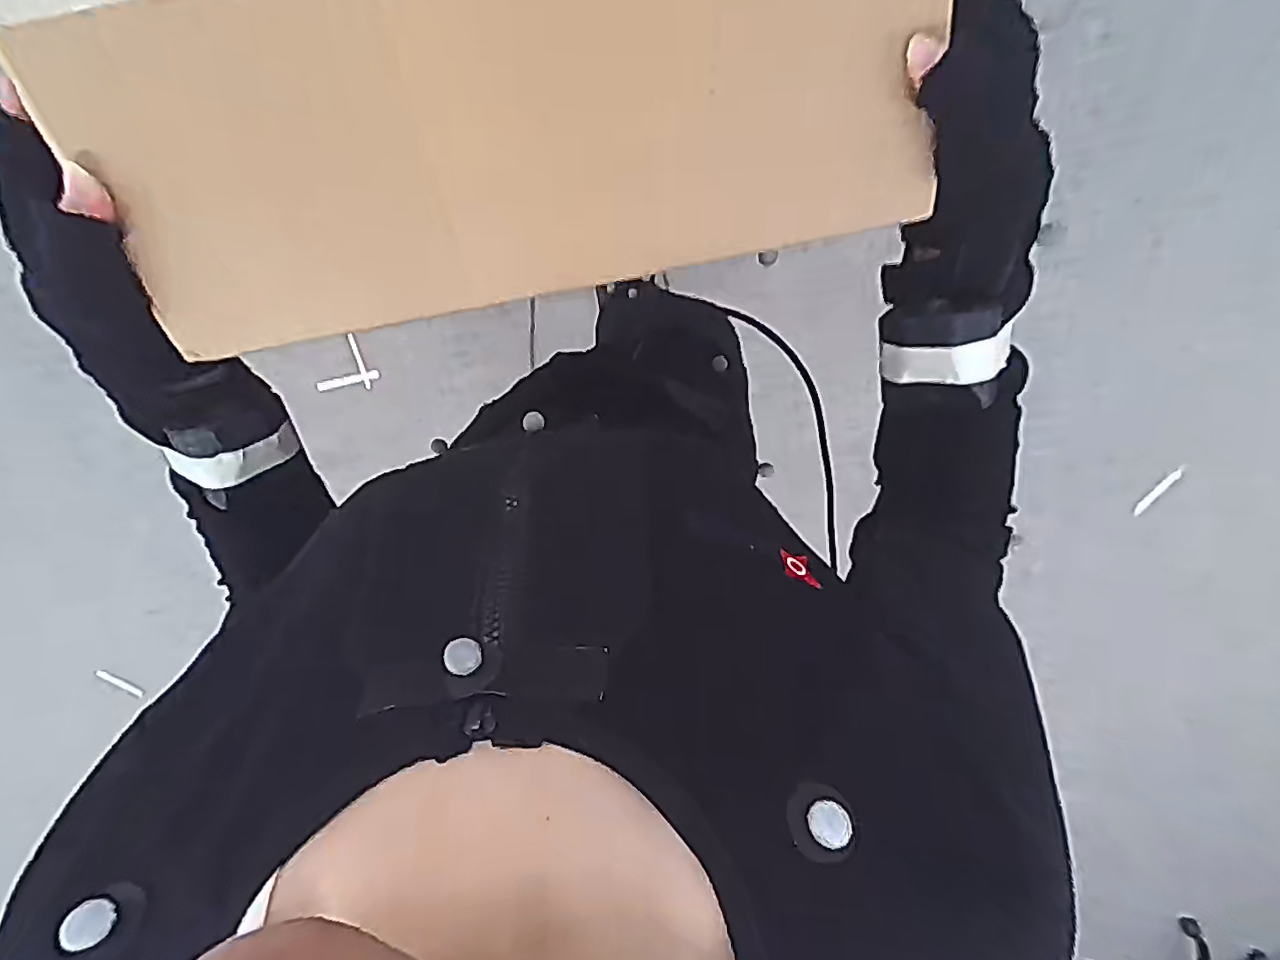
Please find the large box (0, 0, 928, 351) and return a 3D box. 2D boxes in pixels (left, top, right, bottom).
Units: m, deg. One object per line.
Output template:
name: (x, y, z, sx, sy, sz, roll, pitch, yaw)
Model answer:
large box: (-0.082, -0.312, 0.349, 0.408, 0.320, 0.320, -10, 118, 3)
